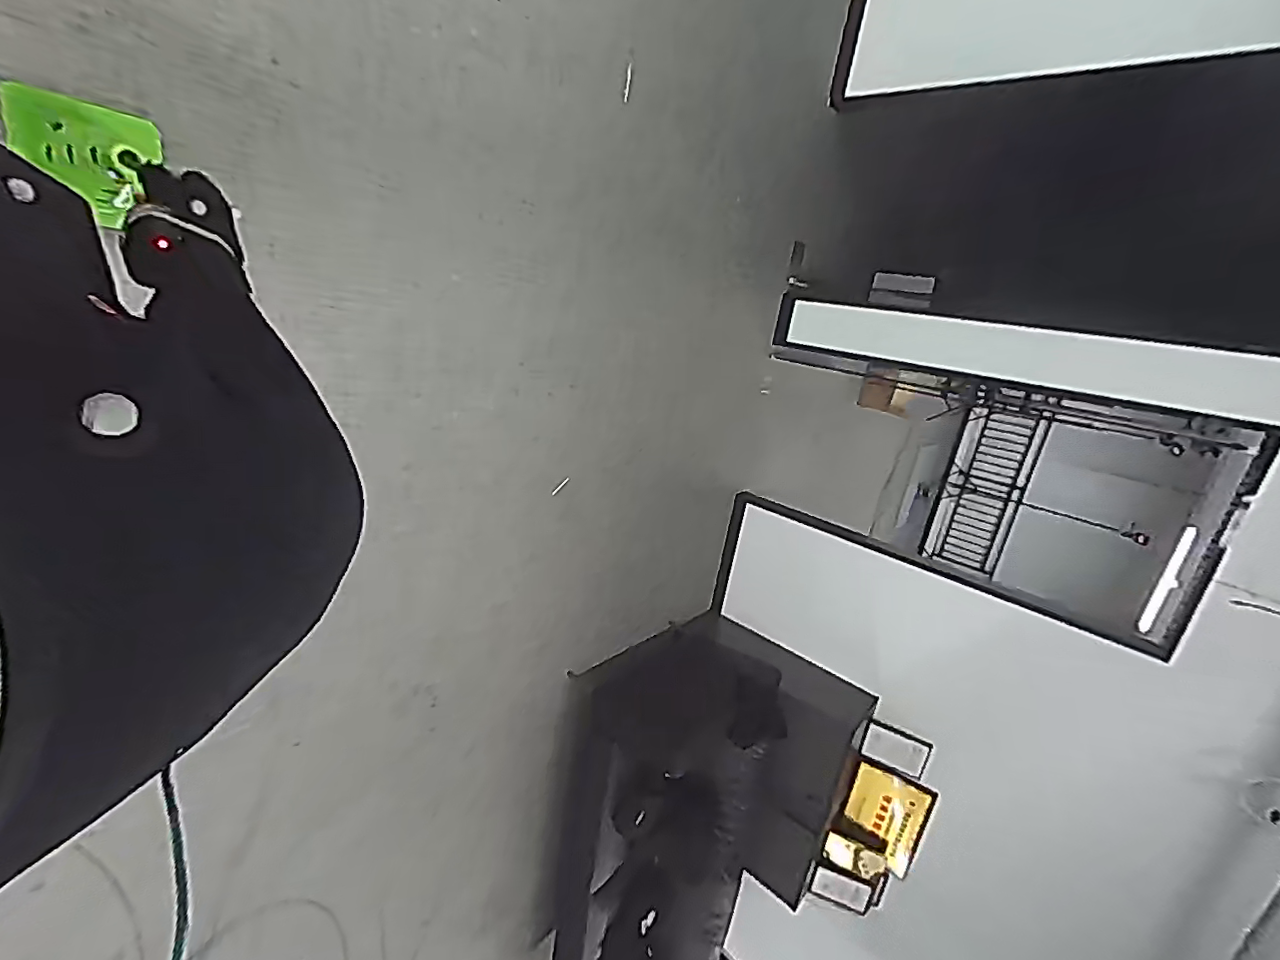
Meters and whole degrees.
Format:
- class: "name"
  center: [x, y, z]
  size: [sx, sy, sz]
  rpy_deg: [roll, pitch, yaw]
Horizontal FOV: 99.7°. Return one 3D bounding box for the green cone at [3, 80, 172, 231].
- class: "green cone"
  center: [-0.856, -0.521, 0.871]
  size: [0.202, 0.368, 0.200]
  rpy_deg: [-11, 116, -47]
